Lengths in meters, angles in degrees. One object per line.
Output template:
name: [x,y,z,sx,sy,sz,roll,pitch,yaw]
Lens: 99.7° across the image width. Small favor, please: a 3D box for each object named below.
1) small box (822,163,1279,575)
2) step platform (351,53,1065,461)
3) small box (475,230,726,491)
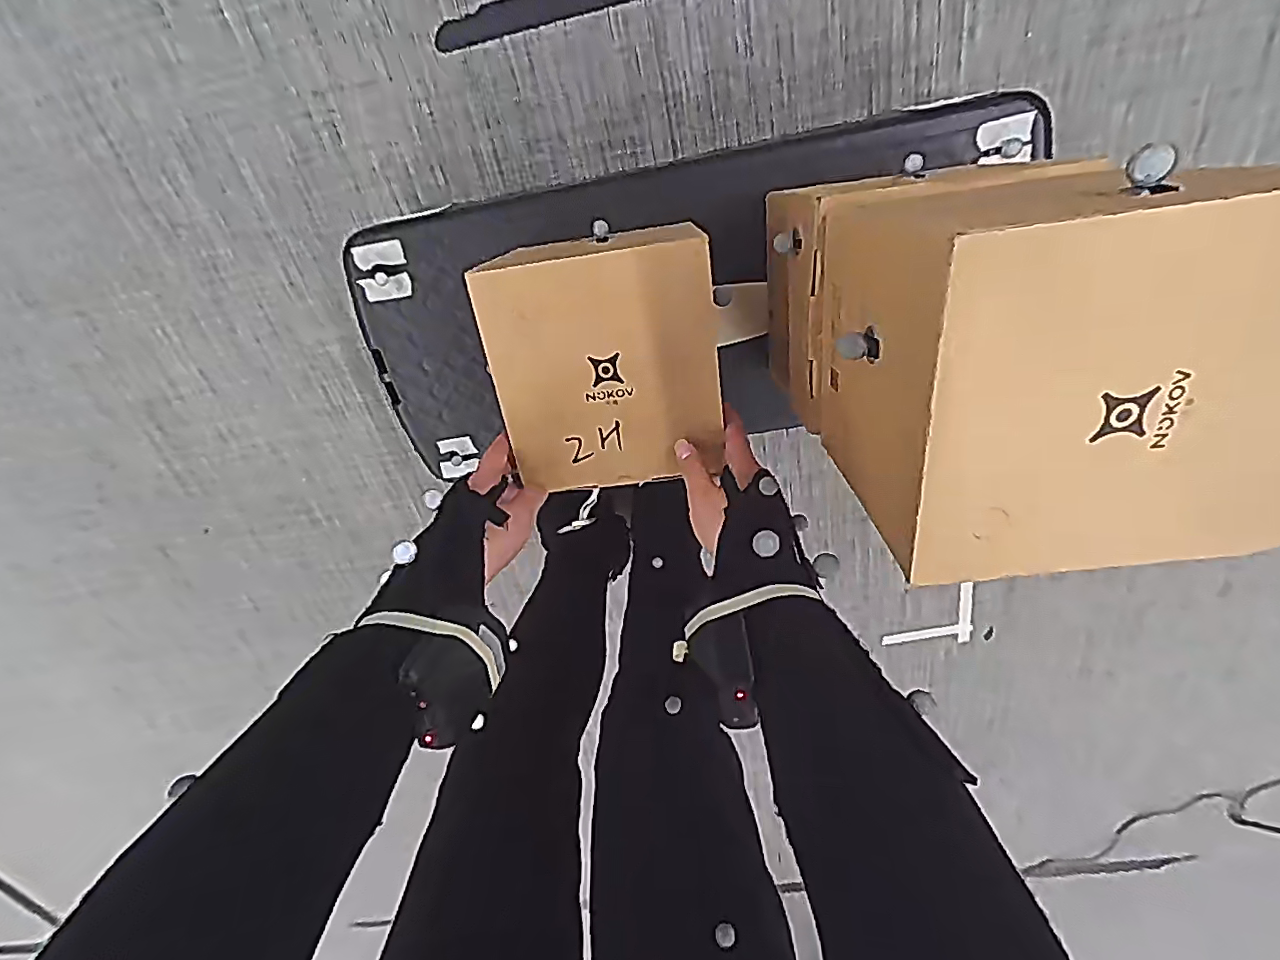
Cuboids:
small box: [0.210,-0.069,0.302,0.179,0.176,0.168,-7,118,4]
step platform: [0.061,-0.223,0.603,0.684,0.204,0.286,-9,117,6]
small box: [-0.022,-0.112,0.466,0.168,0.176,0.179,-6,118,4]
